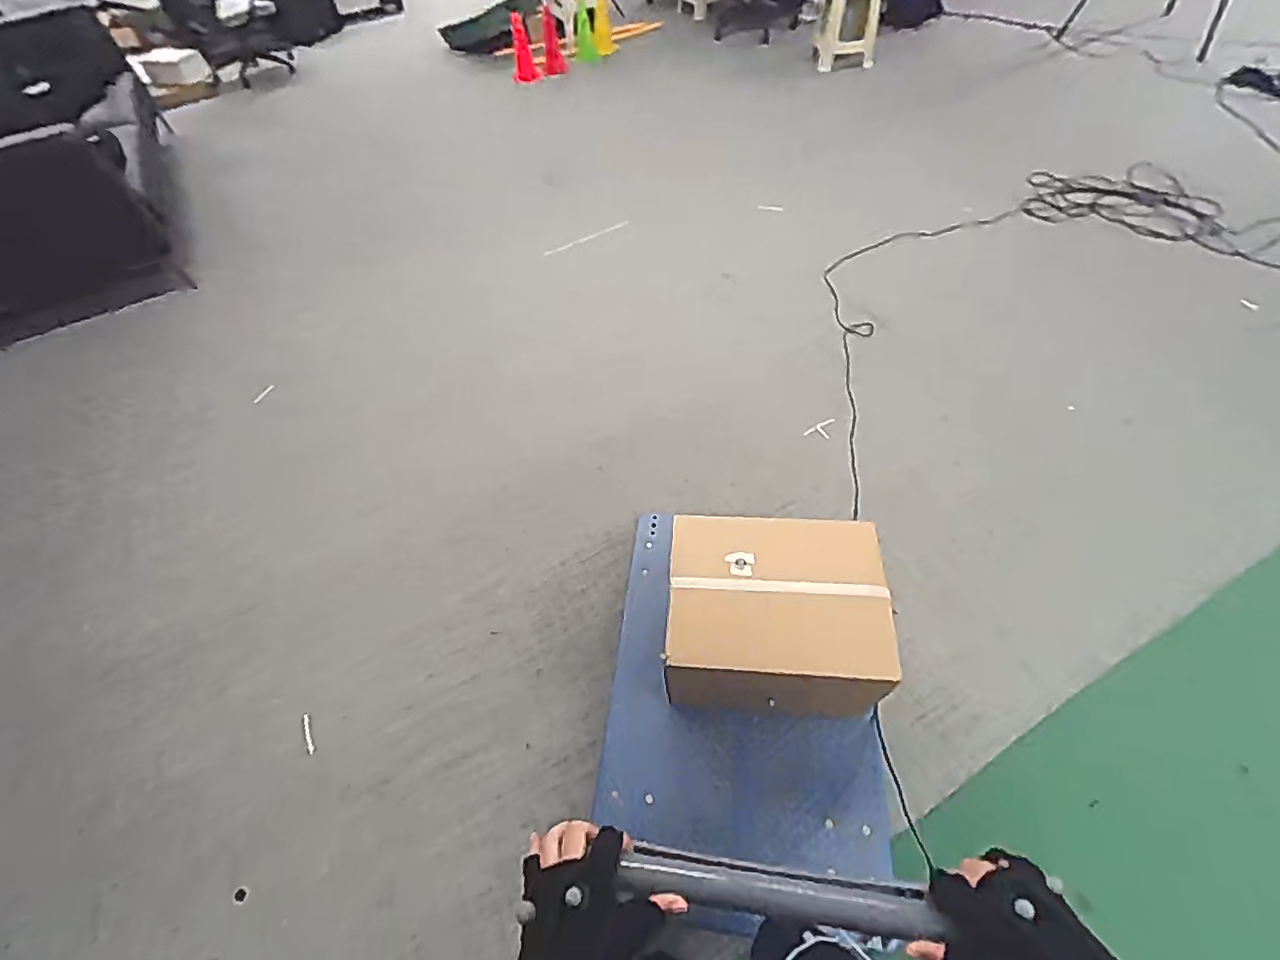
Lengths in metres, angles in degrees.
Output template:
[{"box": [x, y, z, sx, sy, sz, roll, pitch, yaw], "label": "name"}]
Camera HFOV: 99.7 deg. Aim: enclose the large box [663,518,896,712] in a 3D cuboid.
[{"box": [0.266, 0.290, 1.141, 0.408, 0.320, 0.320, 1, 54, 8], "label": "large box"}]
